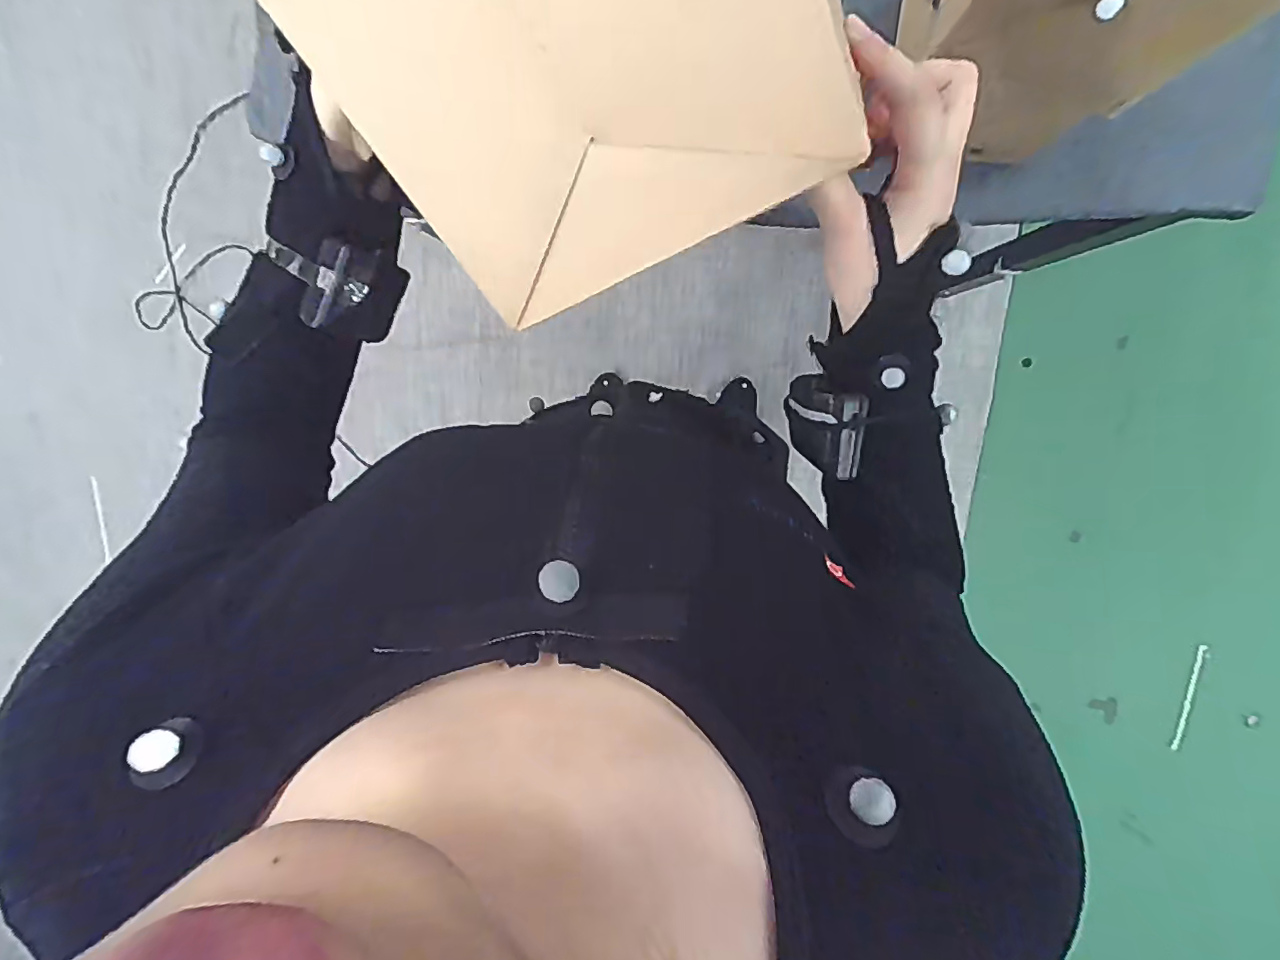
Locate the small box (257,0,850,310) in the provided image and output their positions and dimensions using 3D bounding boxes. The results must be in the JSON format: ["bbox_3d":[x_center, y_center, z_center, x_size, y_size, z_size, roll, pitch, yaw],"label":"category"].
[{"bbox_3d":[-0.017,-0.205,0.243,0.179,0.176,0.168,-14,127,31],"label":"small box"}]

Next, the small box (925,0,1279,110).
[{"bbox_3d":[0.351,-0.409,0.393,0.179,0.176,0.168,17,100,3],"label":"small box"}]

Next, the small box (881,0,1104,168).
[{"bbox_3d":[0.366,-0.451,0.550,0.168,0.176,0.179,7,100,5],"label":"small box"}]
